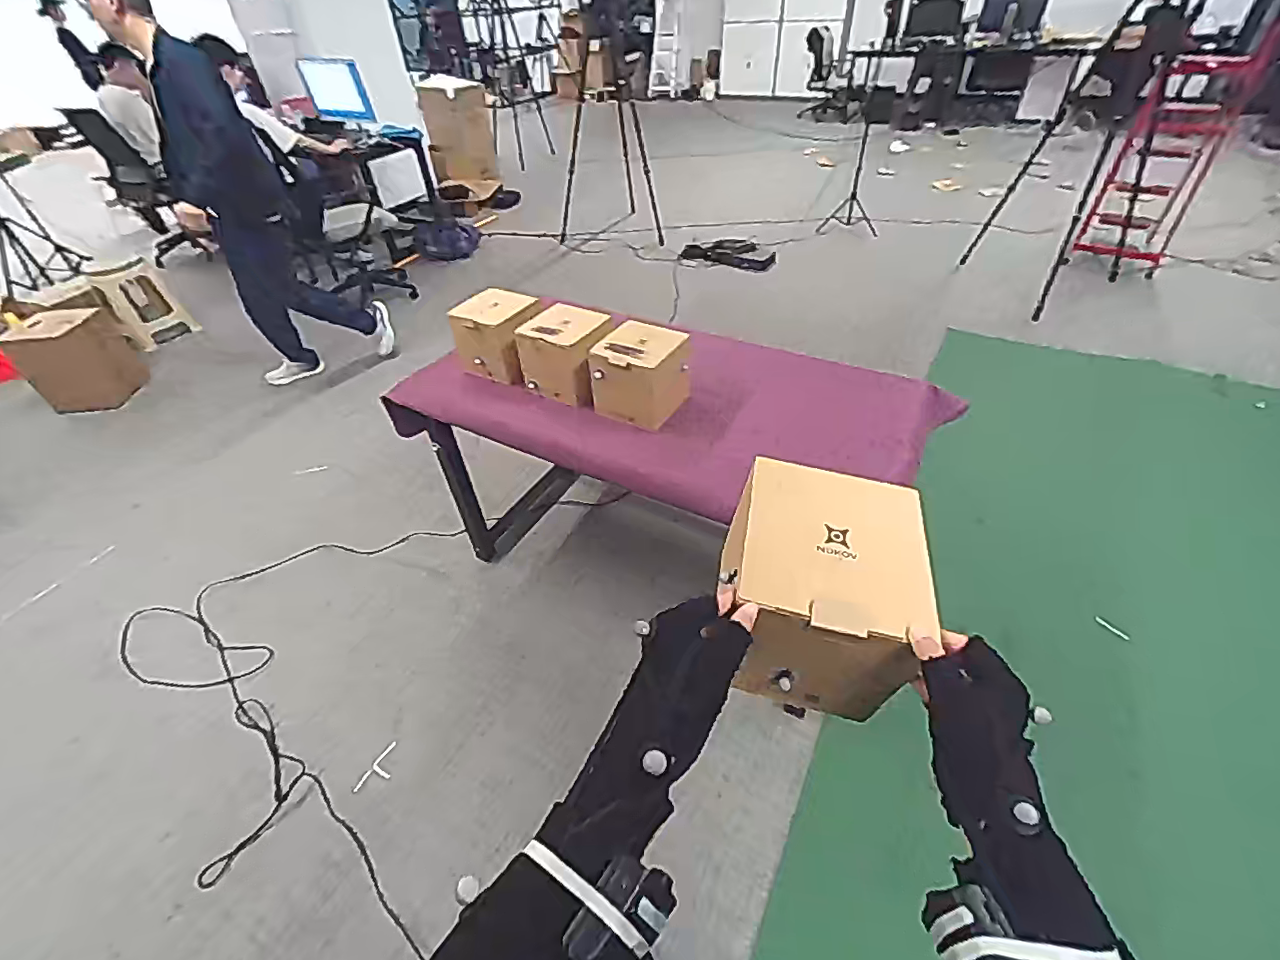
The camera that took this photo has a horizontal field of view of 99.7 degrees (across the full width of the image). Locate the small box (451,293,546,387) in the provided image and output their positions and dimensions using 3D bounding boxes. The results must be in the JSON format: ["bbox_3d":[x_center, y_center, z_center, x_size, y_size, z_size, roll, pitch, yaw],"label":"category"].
[{"bbox_3d":[-0.366,-0.374,1.439,0.168,0.176,0.179,19,47,24],"label":"small box"}]

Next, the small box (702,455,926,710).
[{"bbox_3d":[0.165,0.106,0.558,0.168,0.176,0.179,12,48,6],"label":"small box"}]
